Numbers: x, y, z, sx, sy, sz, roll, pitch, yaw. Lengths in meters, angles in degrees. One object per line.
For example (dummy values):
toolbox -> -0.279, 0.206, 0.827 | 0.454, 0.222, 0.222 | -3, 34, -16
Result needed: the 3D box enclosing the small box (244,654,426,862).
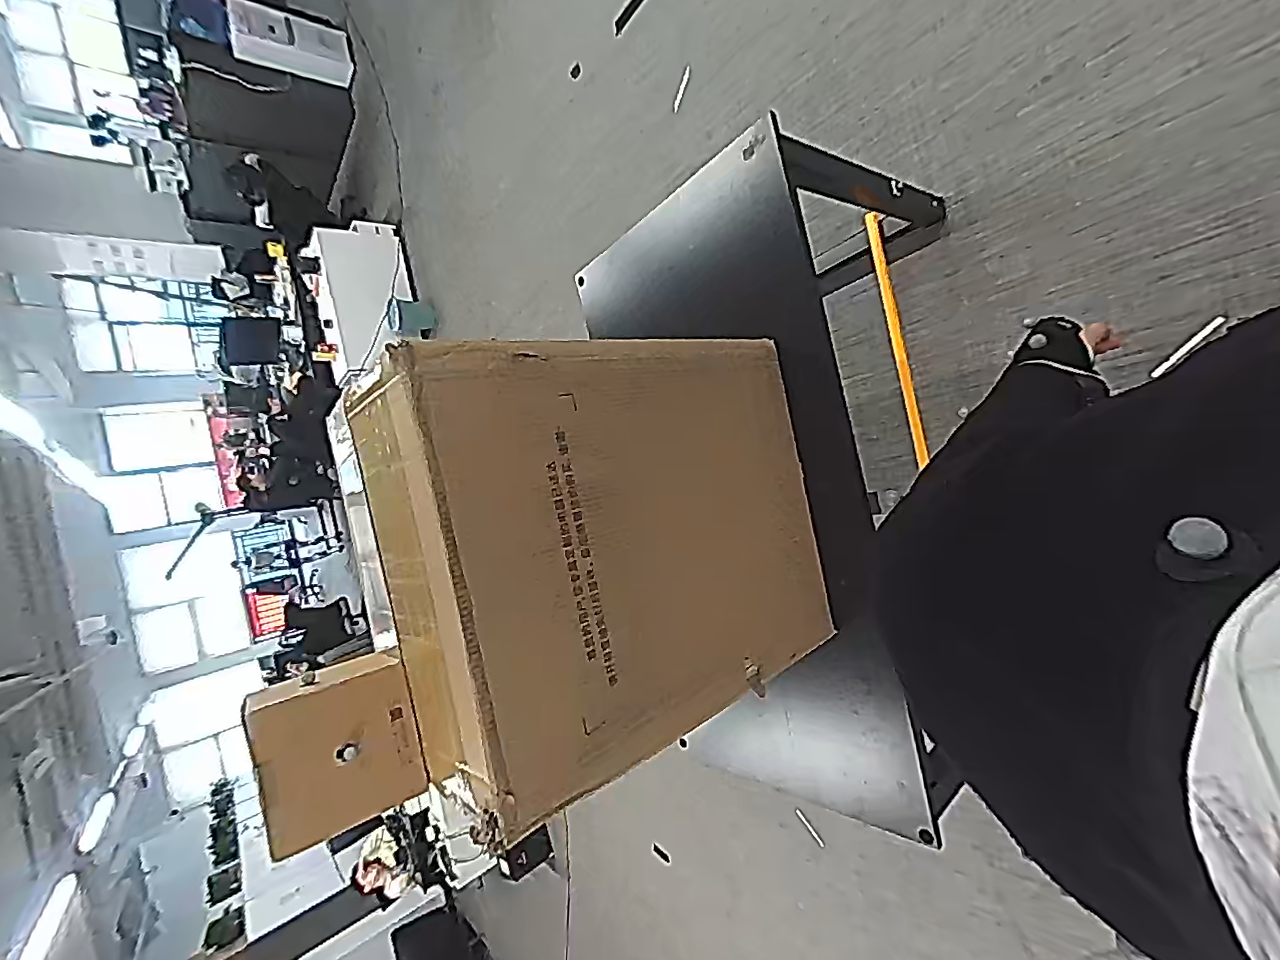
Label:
small box -> -0.390, 0.335, 0.698 | 0.179, 0.176, 0.168 | -19, 84, 53
